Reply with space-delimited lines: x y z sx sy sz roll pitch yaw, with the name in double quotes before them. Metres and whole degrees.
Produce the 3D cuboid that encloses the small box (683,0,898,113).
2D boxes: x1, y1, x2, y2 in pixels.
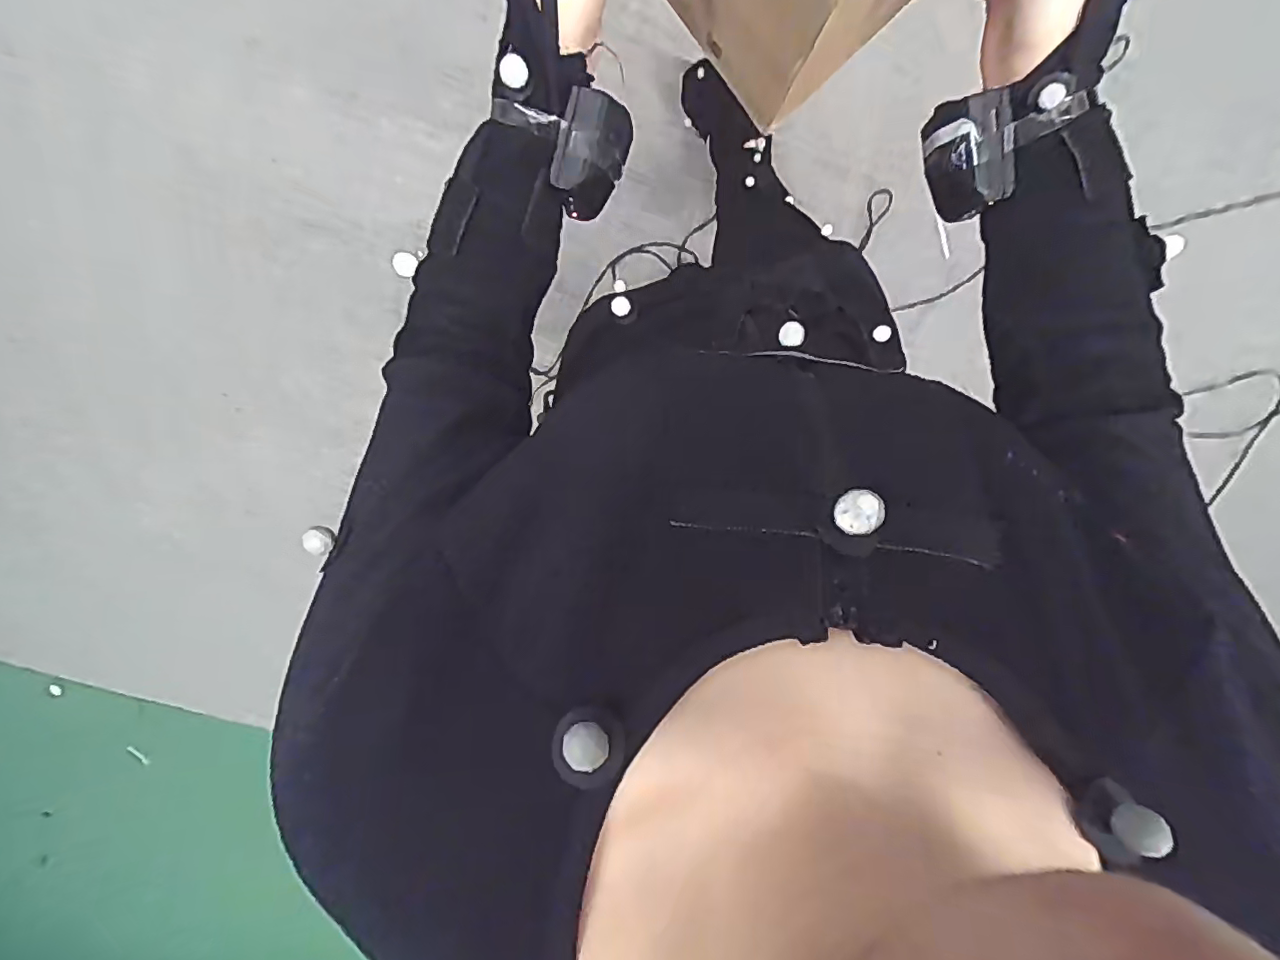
"small box" 0.095 -0.342 0.276 0.179 0.176 0.168 -40 100 12
